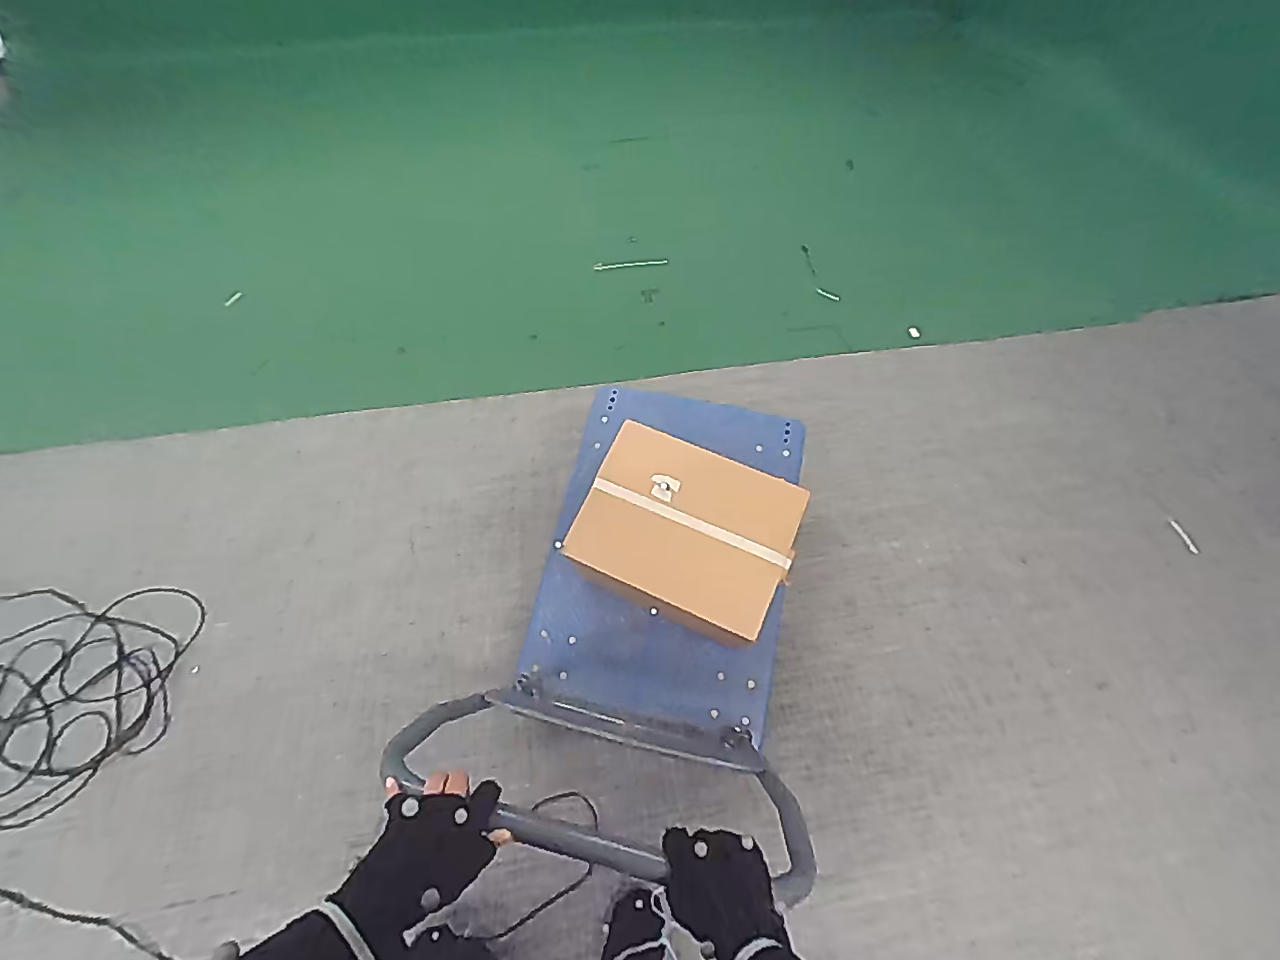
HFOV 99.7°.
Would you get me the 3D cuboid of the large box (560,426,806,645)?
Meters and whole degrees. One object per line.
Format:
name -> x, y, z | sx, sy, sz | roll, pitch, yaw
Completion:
large box -> 0.098, 0.136, 1.190 | 0.408, 0.320, 0.320 | 23, 73, 12
